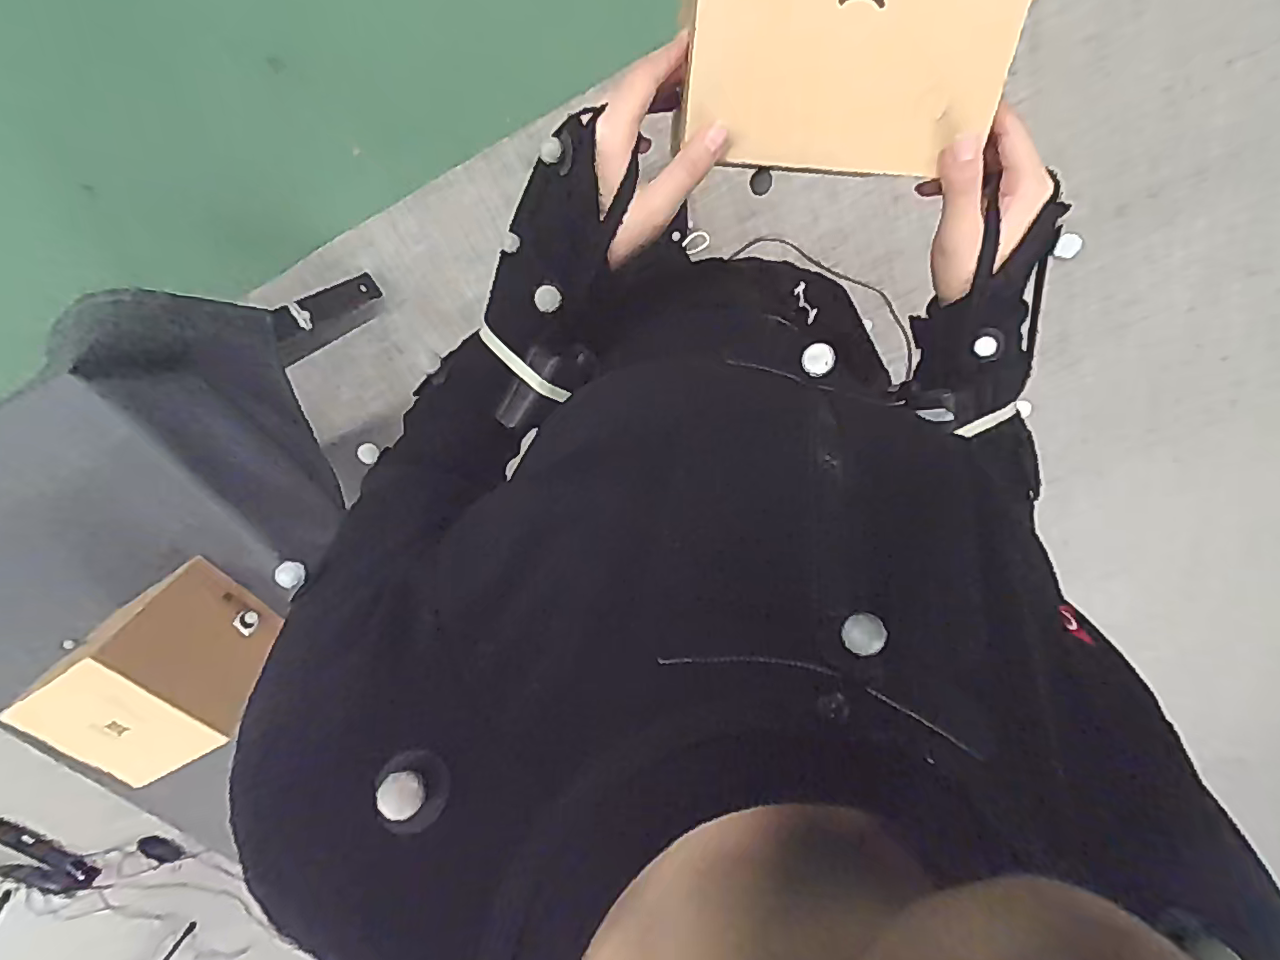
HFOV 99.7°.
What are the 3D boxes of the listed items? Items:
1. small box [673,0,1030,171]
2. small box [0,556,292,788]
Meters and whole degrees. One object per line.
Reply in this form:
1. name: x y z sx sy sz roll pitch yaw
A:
1. small box: 0.110 -0.292 0.323 0.168 0.176 0.179 3 119 -2
2. small box: -0.575 0.227 0.654 0.179 0.176 0.168 -30 118 15
